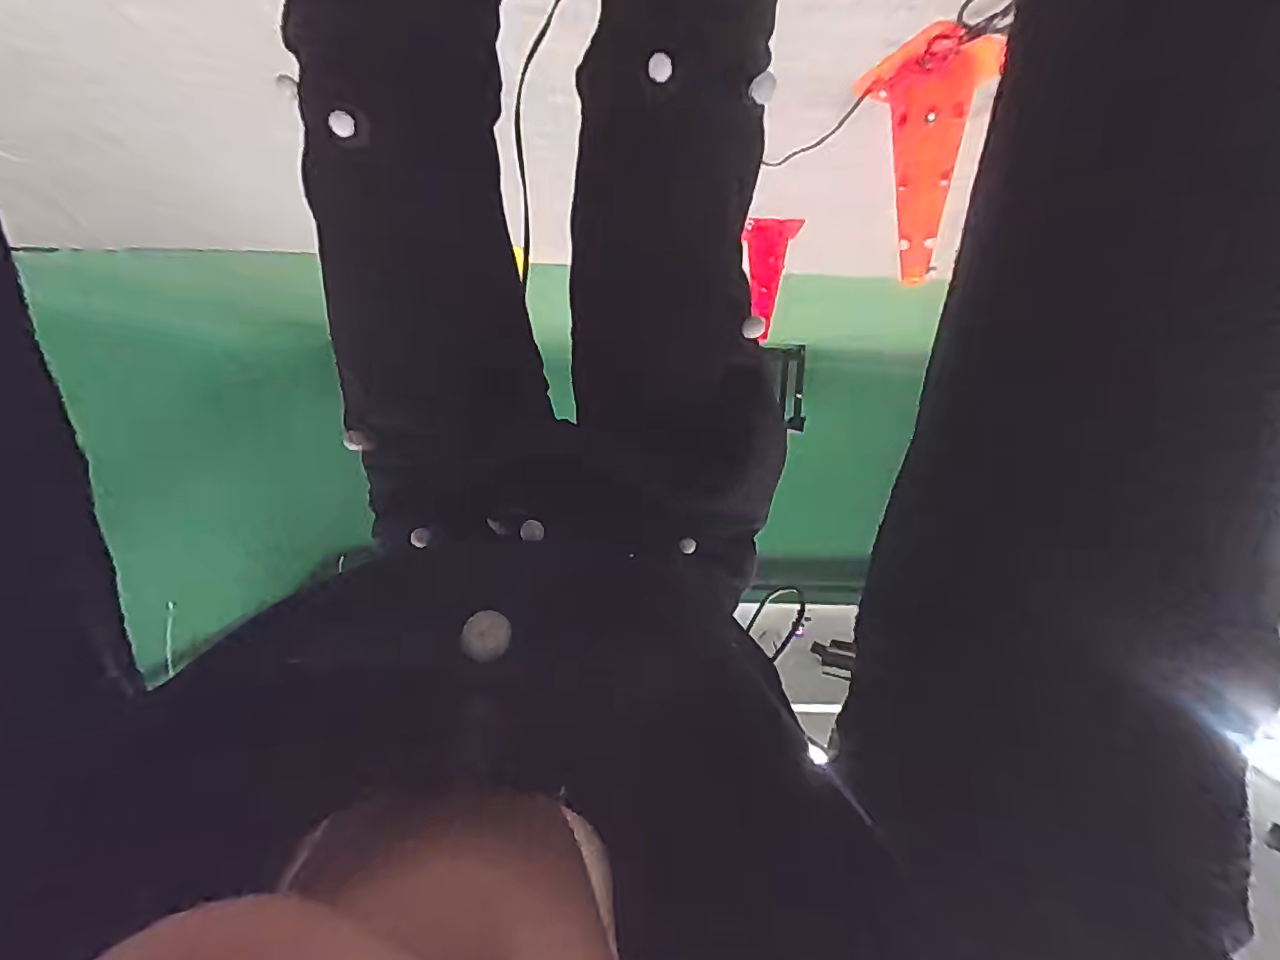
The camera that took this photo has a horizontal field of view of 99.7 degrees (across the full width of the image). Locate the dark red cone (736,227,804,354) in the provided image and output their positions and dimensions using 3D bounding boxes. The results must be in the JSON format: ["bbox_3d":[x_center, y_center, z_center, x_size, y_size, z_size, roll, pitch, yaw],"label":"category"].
[{"bbox_3d":[0.413,-0.614,1.770,0.202,0.394,0.201,2,-170,6],"label":"dark red cone"}]

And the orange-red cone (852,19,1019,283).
[{"bbox_3d":[0.493,-0.532,0.942,0.199,0.360,0.198,-3,-171,-21],"label":"orange-red cone"}]
